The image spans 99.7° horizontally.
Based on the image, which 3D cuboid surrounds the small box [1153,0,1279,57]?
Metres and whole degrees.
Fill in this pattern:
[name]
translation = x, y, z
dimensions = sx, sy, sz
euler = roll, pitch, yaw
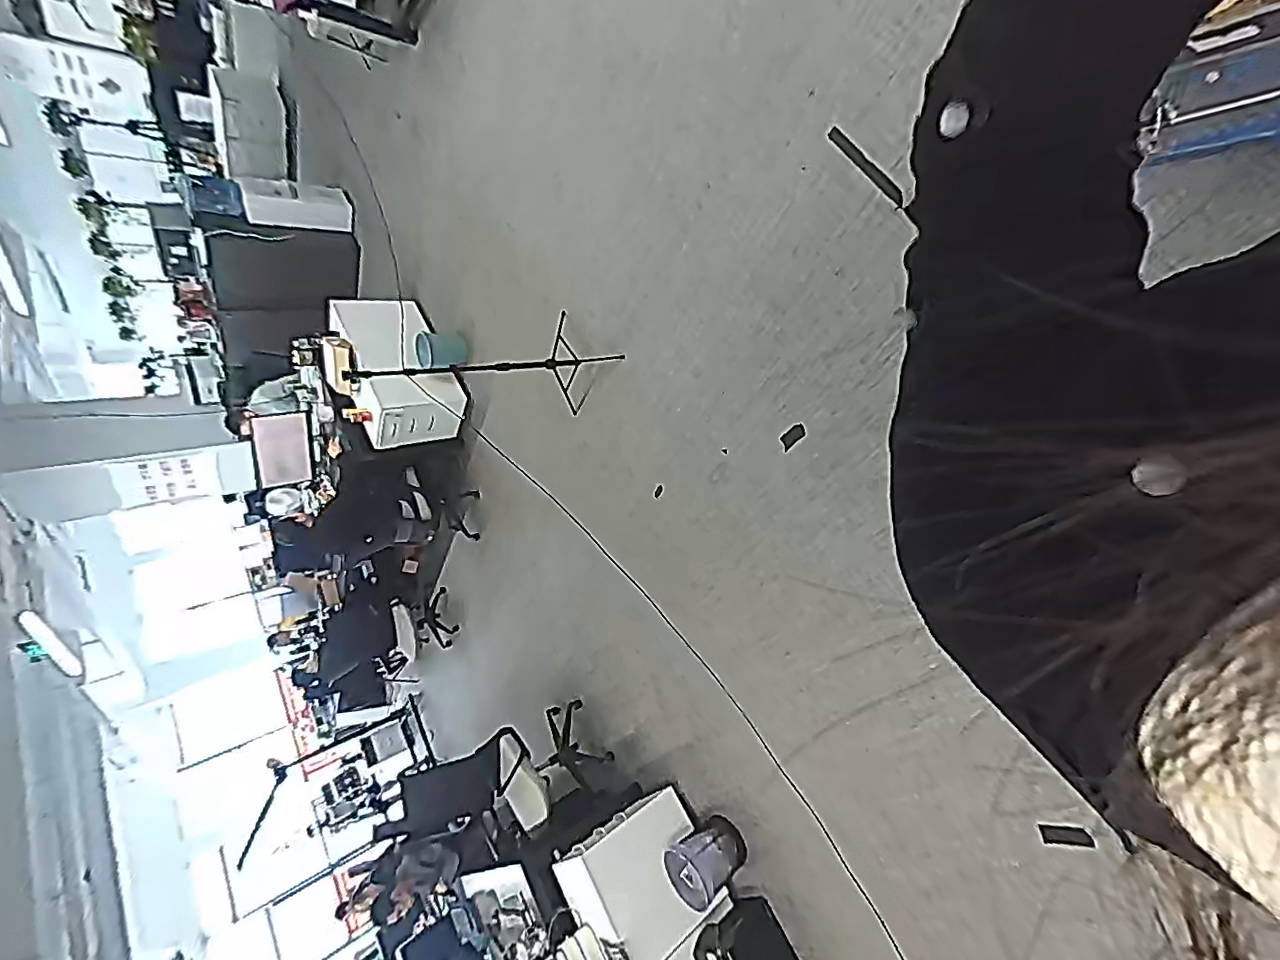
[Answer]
[small box]
translation = 0.859, -0.743, 0.768
dimensions = 0.168, 0.176, 0.179
euler = 6, 107, 48
